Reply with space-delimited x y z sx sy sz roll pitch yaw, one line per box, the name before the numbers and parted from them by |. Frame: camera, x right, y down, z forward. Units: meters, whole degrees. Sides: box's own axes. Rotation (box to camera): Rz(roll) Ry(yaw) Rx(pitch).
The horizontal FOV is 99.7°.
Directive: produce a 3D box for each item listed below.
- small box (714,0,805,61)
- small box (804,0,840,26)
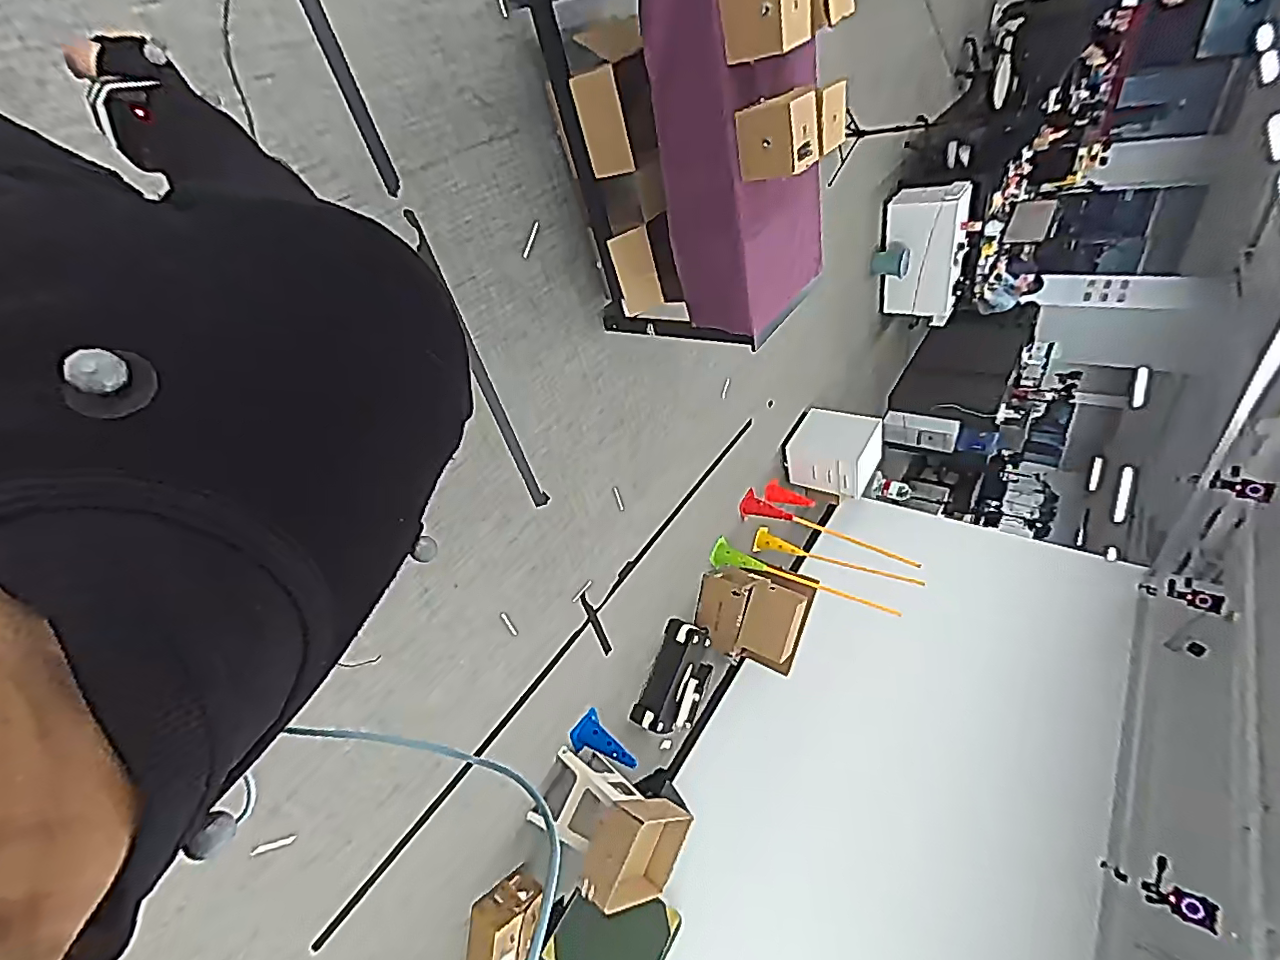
small box | 0.300 -1.197 1.367 0.168 0.176 0.179 -48 138 -31
small box | 0.435 -1.360 1.484 0.168 0.176 0.179 -49 139 -29
